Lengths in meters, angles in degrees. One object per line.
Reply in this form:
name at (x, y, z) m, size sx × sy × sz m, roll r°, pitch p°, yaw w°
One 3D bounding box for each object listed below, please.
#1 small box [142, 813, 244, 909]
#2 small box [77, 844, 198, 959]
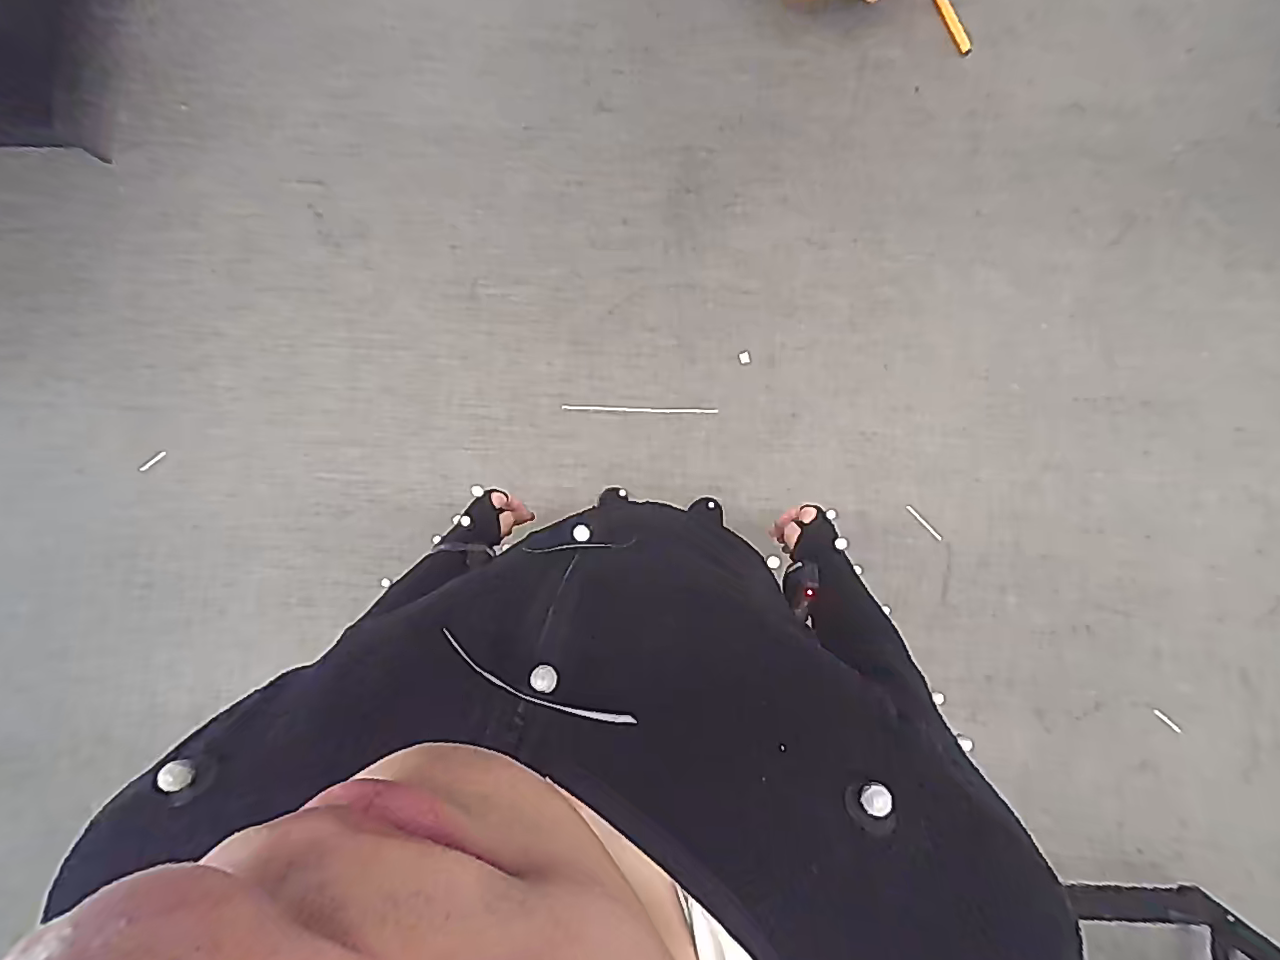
small box at (-1.308, 1.106, 1.582) m, size 0.179 × 0.176 × 0.168 m, roll 4°, pitch 87°, yaw 2°
small box at (-1.308, 1.096, 1.420) m, size 0.168 × 0.176 × 0.179 m, roll 2°, pitch 89°, yaw 3°
